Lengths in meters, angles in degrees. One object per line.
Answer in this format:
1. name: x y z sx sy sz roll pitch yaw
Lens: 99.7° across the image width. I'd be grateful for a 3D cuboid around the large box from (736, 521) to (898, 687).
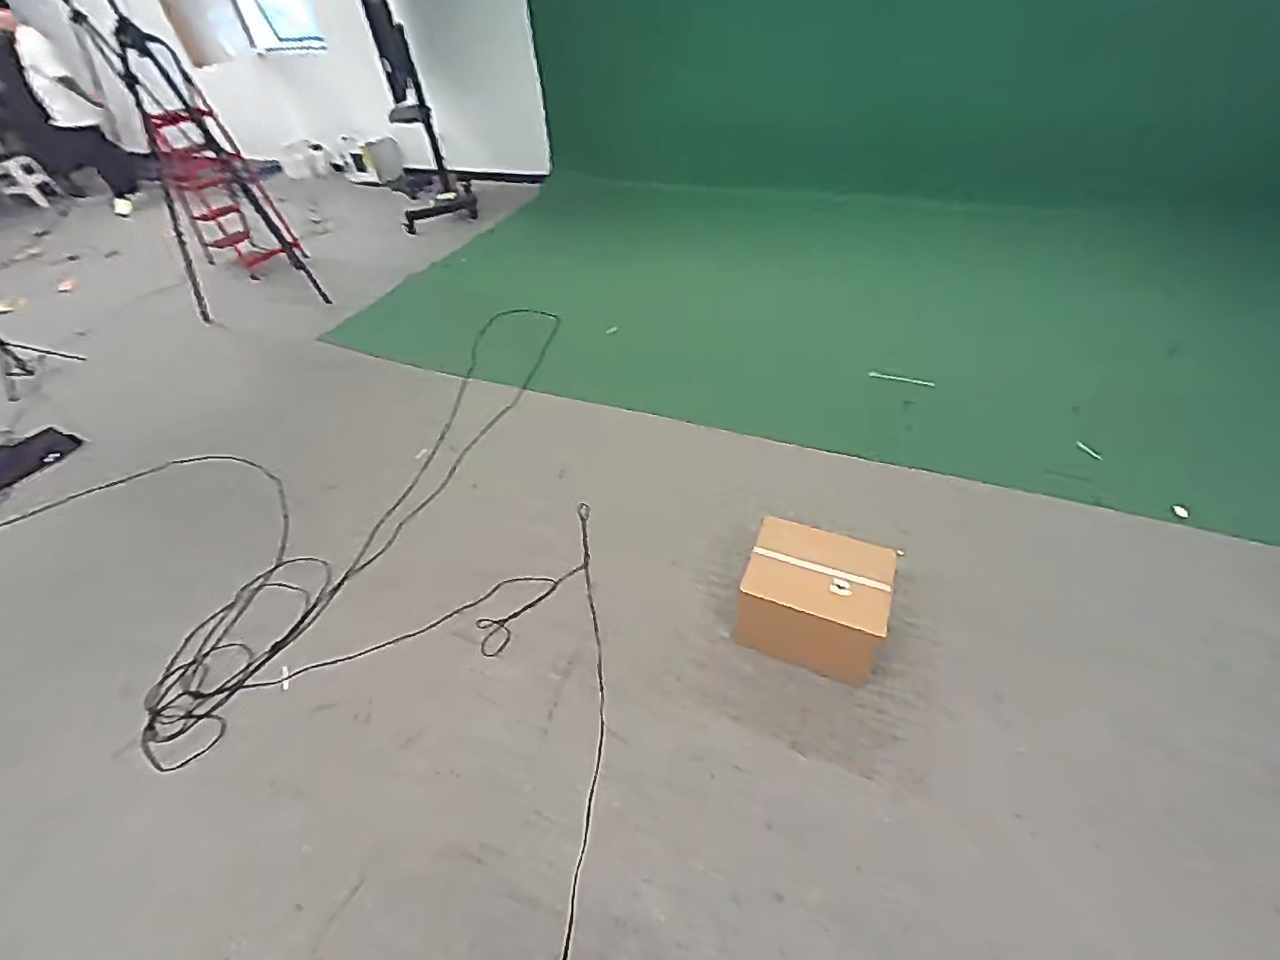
1. large box: 0.543 0.382 1.698 0.408 0.320 0.320 15 48 19
